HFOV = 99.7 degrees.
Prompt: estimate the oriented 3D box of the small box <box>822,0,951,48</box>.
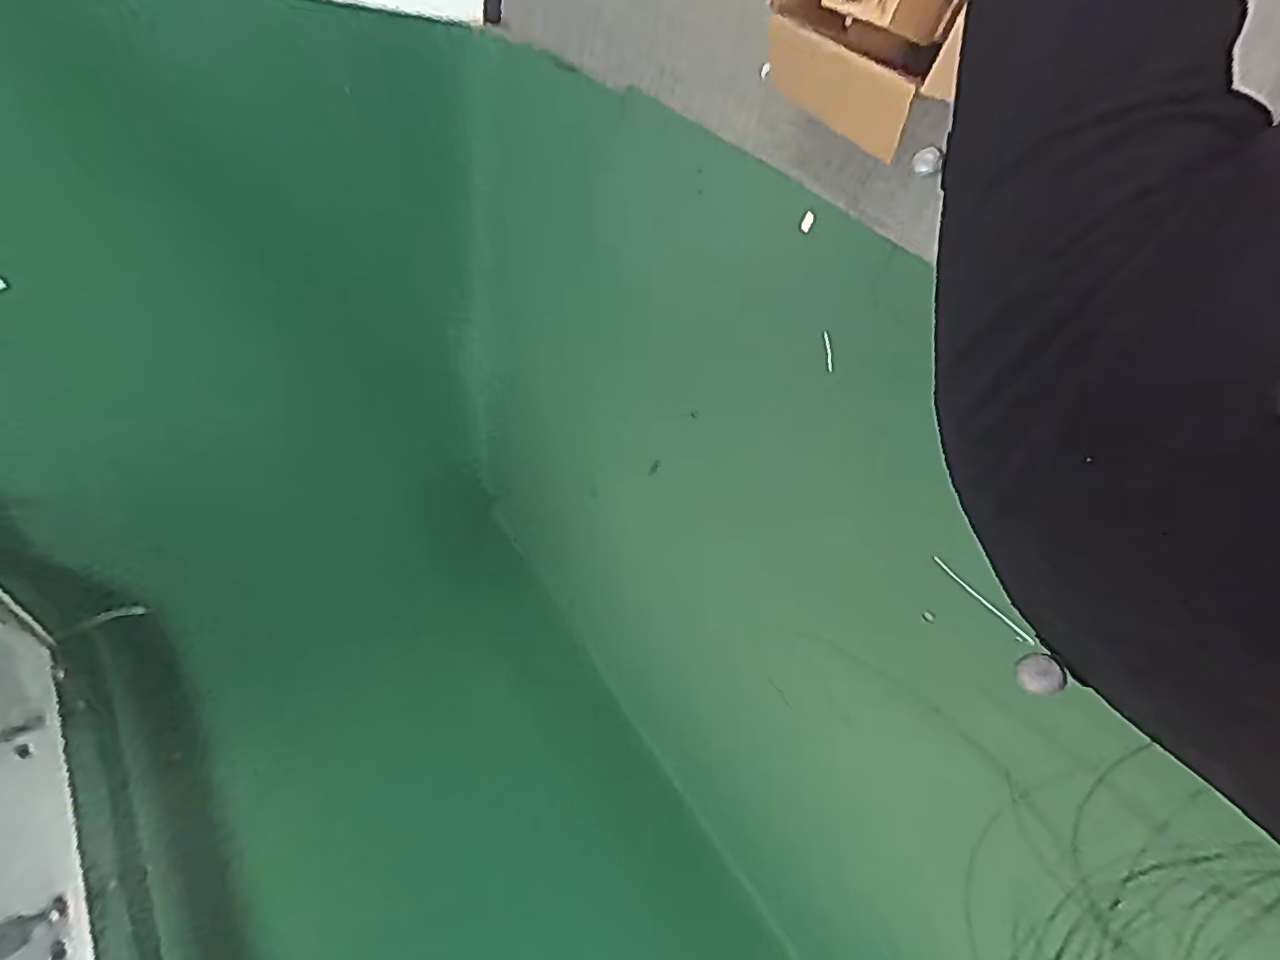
[{"bbox_3d":[0.479,-0.939,0.991,0.168,0.176,0.179,51,138,27],"label":"small box"}]
